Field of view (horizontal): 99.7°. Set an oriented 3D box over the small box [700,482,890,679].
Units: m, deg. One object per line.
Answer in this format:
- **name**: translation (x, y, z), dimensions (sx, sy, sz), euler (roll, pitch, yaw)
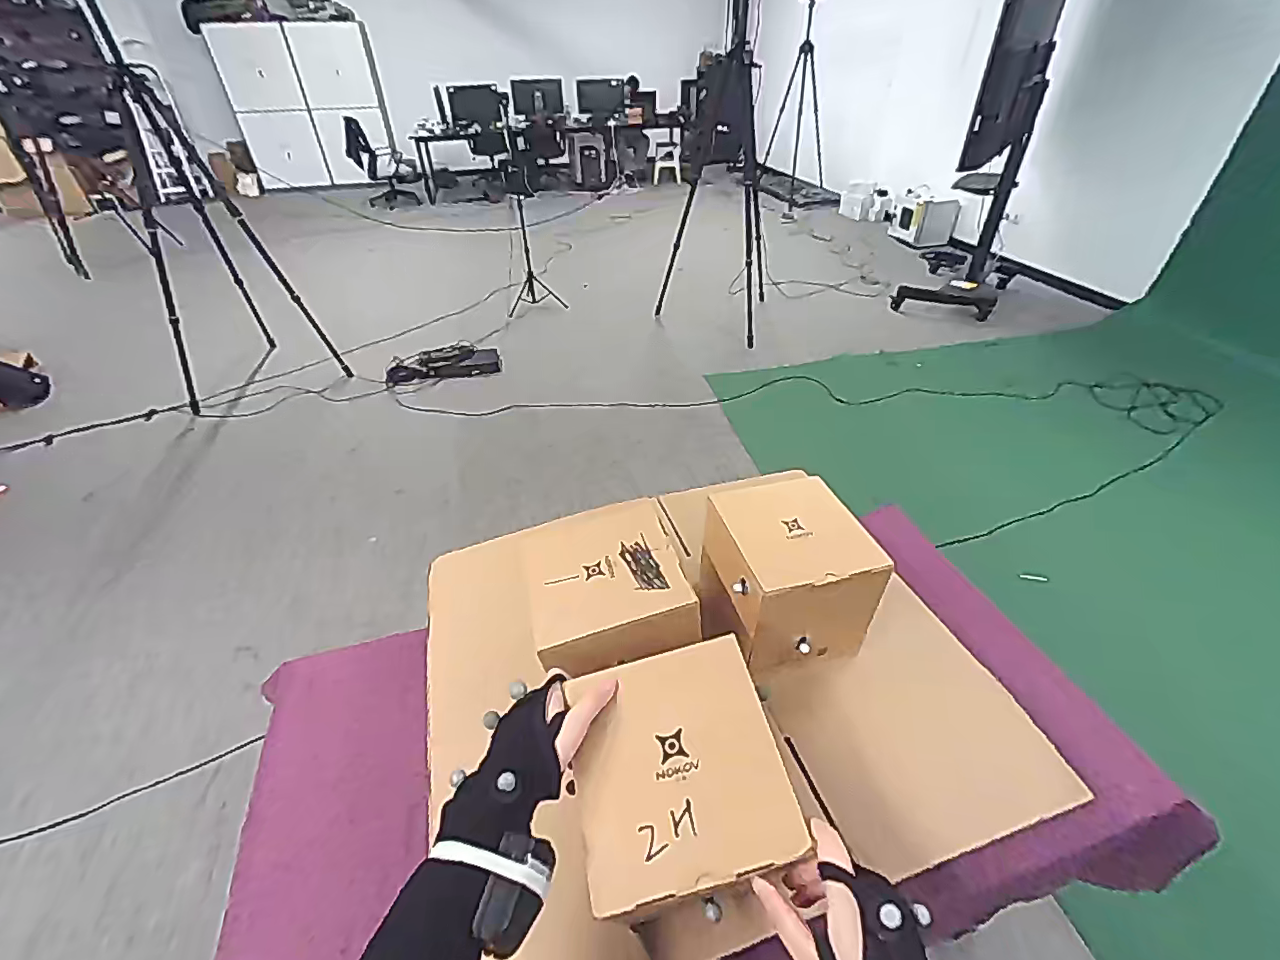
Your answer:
- **small box**: translation (0.186, 0.129, 0.714), dimensions (0.168, 0.176, 0.179), euler (-9, 40, -12)
